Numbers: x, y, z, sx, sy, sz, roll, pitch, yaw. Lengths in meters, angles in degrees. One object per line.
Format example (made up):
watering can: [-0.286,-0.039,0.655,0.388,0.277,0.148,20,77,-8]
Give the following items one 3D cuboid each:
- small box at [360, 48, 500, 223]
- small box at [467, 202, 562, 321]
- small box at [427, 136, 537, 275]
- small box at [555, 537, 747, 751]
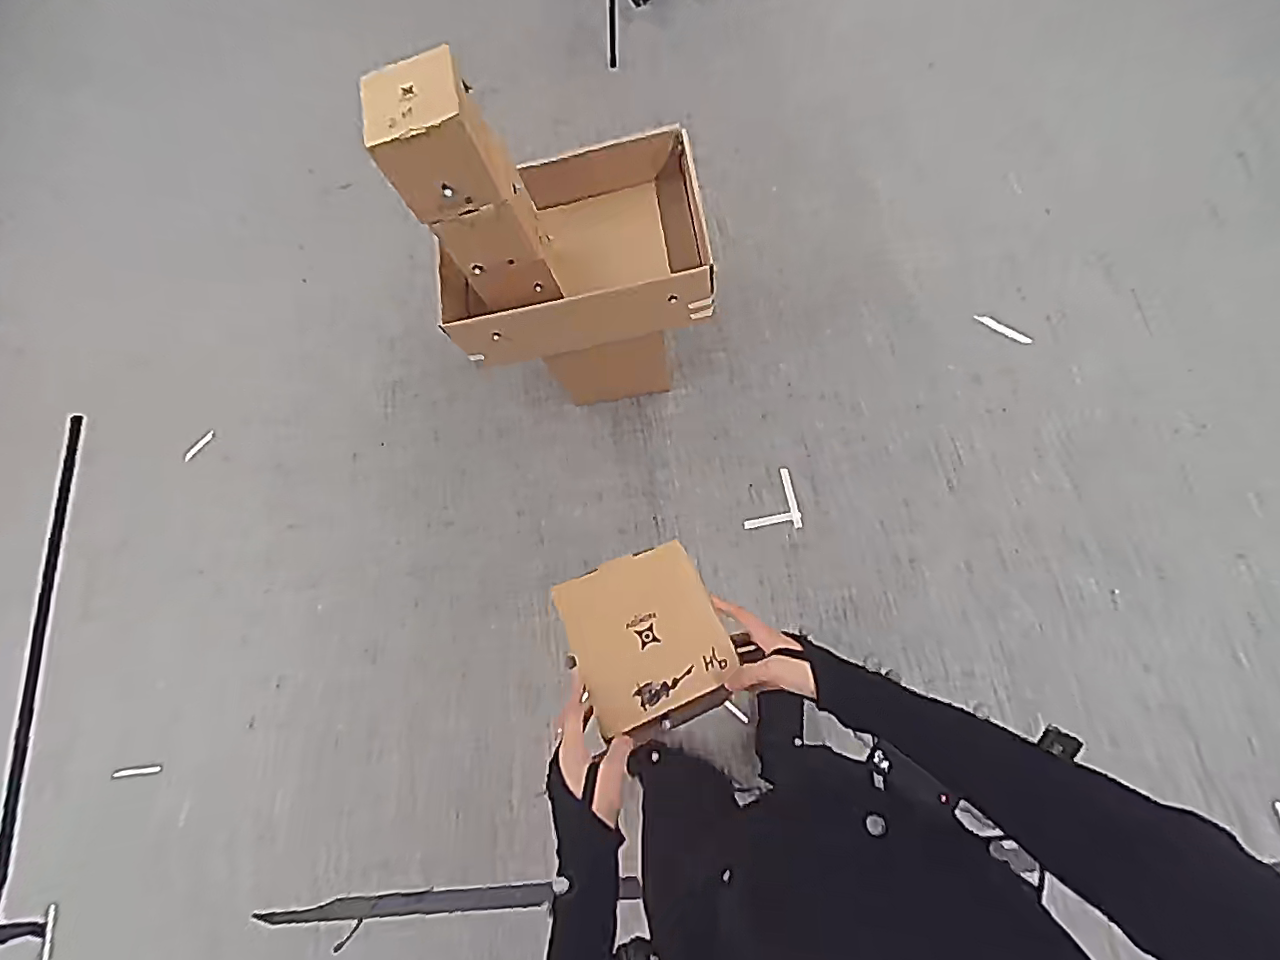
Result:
small box: [-0.365,-0.598,0.955,0.168,0.176,0.179,-15,71,6]
small box: [-0.291,-0.500,1.262,0.179,0.176,0.168,-15,72,7]
small box: [-0.323,-0.548,1.108,0.168,0.176,0.179,-14,71,6]
small box: [0.006,0.203,0.660,0.168,0.176,0.179,-20,59,-12]
